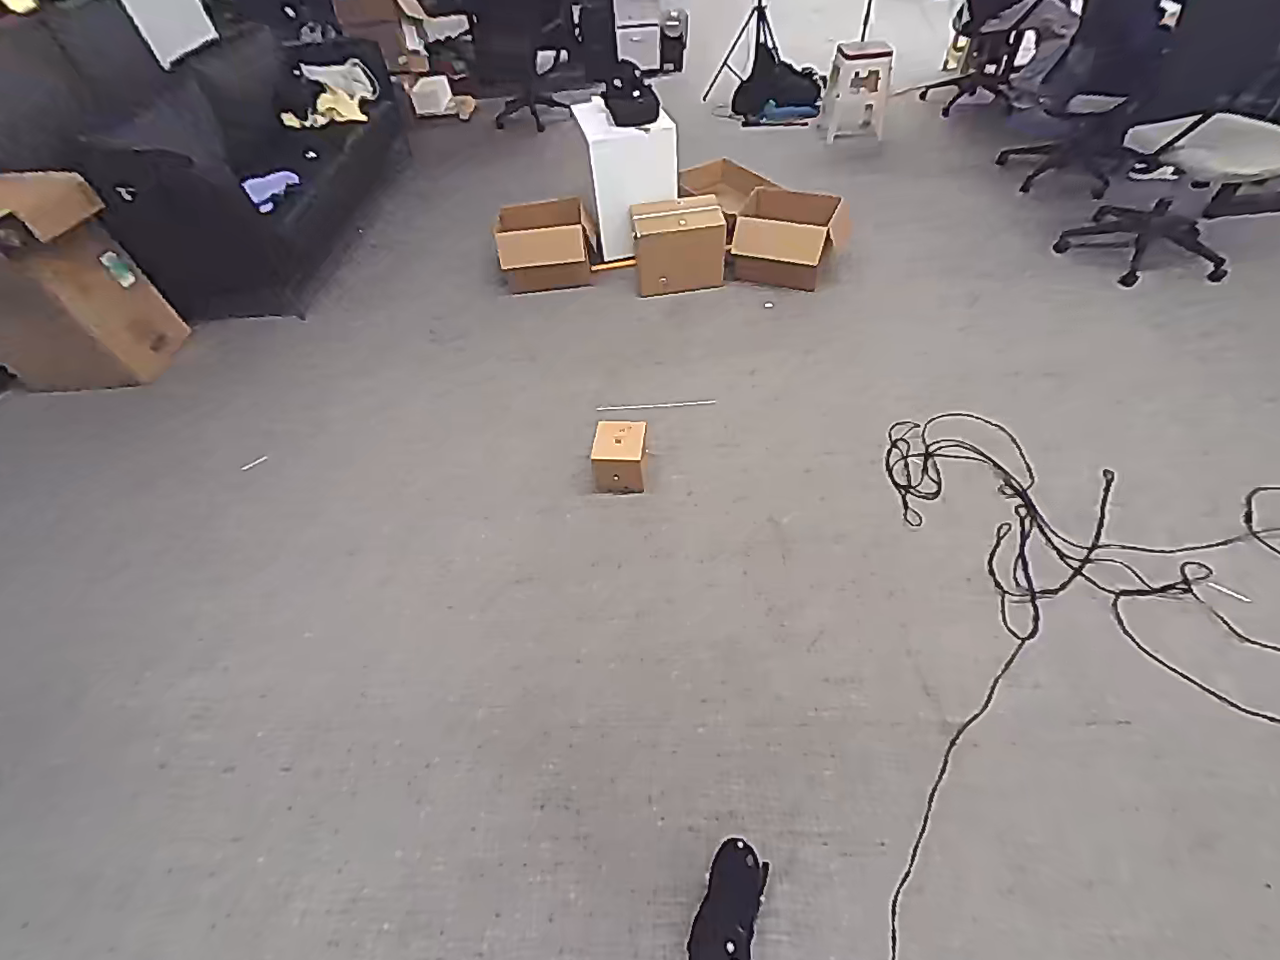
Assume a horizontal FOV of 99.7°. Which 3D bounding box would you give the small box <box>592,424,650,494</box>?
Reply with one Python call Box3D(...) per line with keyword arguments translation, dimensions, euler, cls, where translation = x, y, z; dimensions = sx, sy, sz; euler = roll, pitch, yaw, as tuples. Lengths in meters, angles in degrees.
Box3D(translation=(-0.059, -0.069, 1.844), dimensions=(0.168, 0.176, 0.179), euler=(3, 51, 7), cls="small box")
